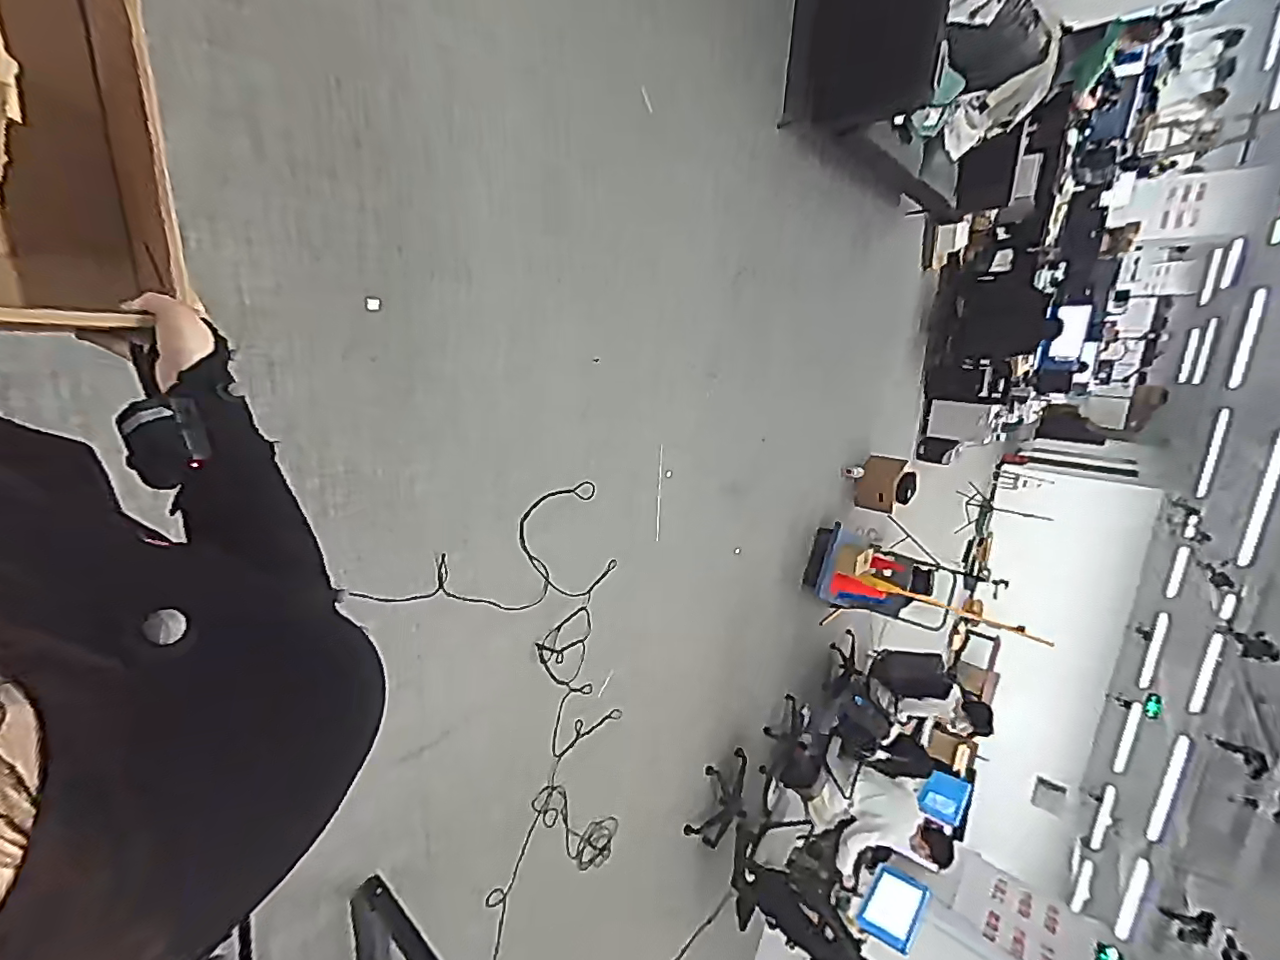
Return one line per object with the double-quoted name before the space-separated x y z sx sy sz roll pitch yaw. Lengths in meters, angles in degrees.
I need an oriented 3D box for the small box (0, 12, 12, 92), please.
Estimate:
"small box" -0.451 -0.275 0.256 0.179 0.176 0.168 -16 104 -51
